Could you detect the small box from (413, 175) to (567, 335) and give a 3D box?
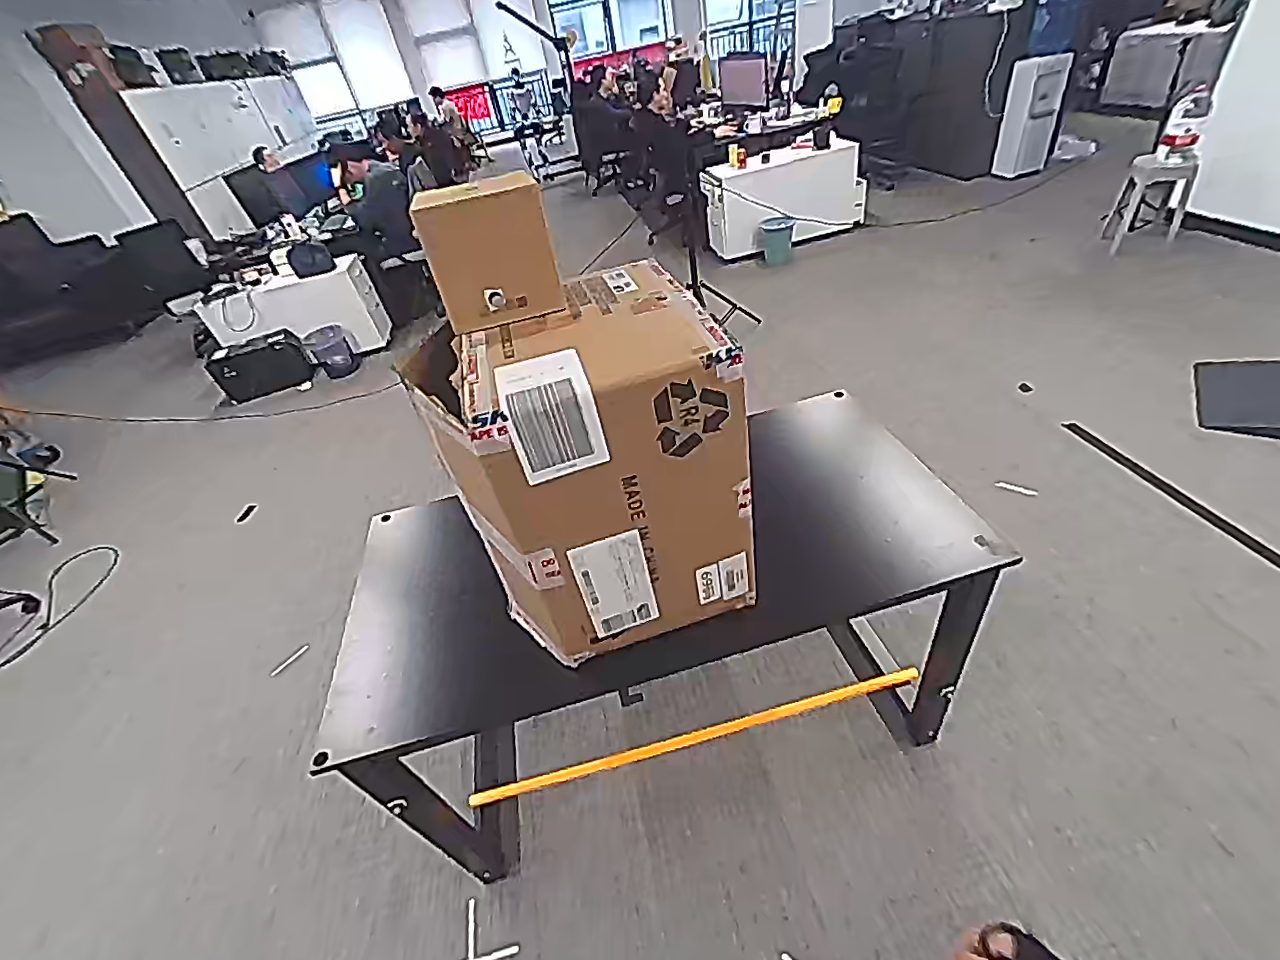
[{"bbox_3d":[-0.217,-0.334,0.798,0.168,0.176,0.179,-18,38,-8],"label":"small box"}]
